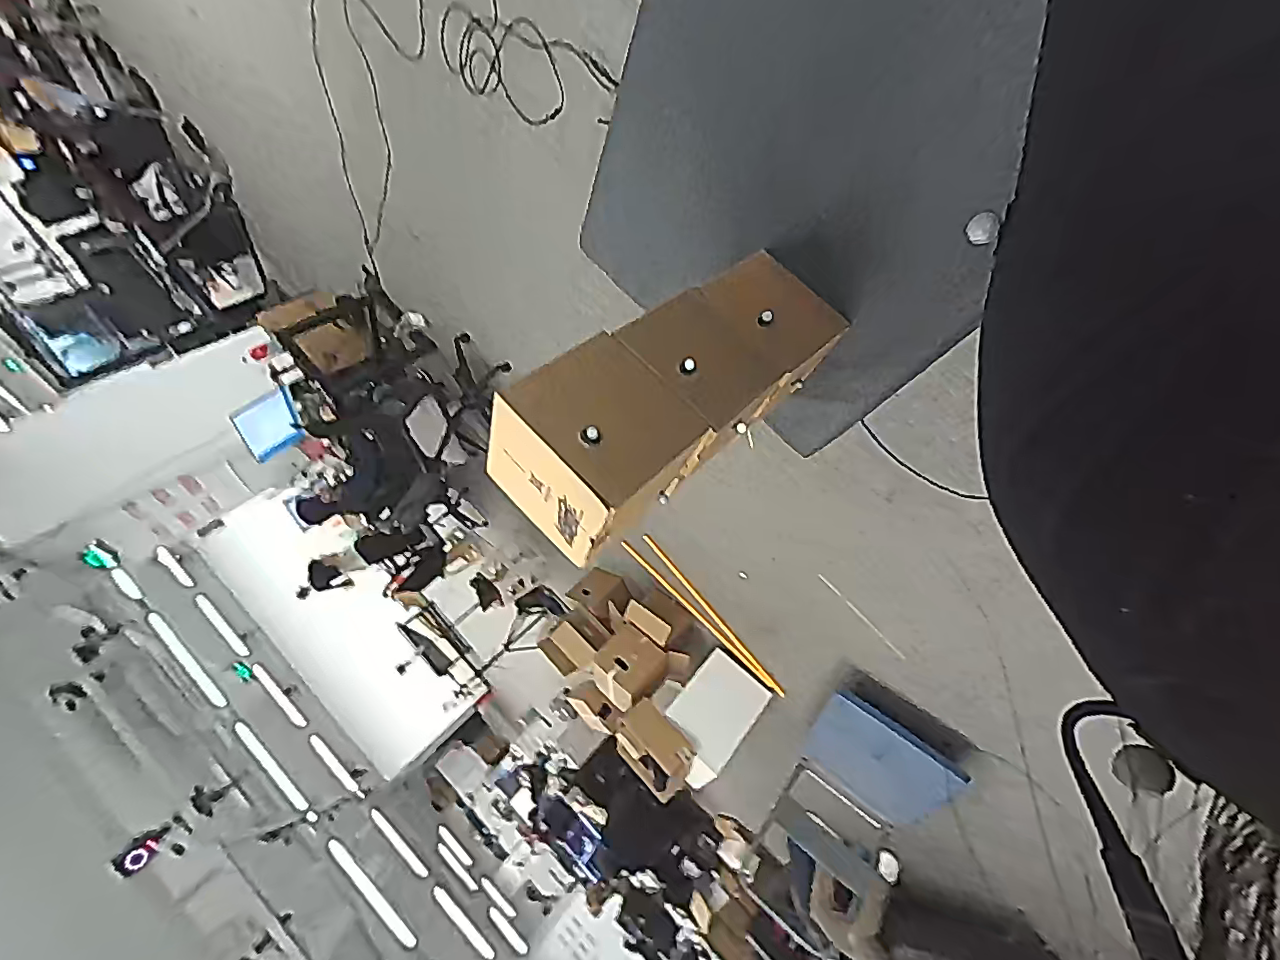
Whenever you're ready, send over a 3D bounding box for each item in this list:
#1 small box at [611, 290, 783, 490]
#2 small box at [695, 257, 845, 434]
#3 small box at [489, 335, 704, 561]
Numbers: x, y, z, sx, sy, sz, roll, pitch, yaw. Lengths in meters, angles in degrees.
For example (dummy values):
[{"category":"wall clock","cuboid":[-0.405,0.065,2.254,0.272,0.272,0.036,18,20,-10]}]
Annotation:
[{"category":"small box","cuboid":[0.059,-0.124,0.731,0.179,0.176,0.168,46,147,8]},{"category":"small box","cuboid":[0.168,-0.209,0.817,0.179,0.176,0.168,45,148,9]},{"category":"small box","cuboid":[-0.054,-0.041,0.645,0.179,0.176,0.168,45,147,9]}]
